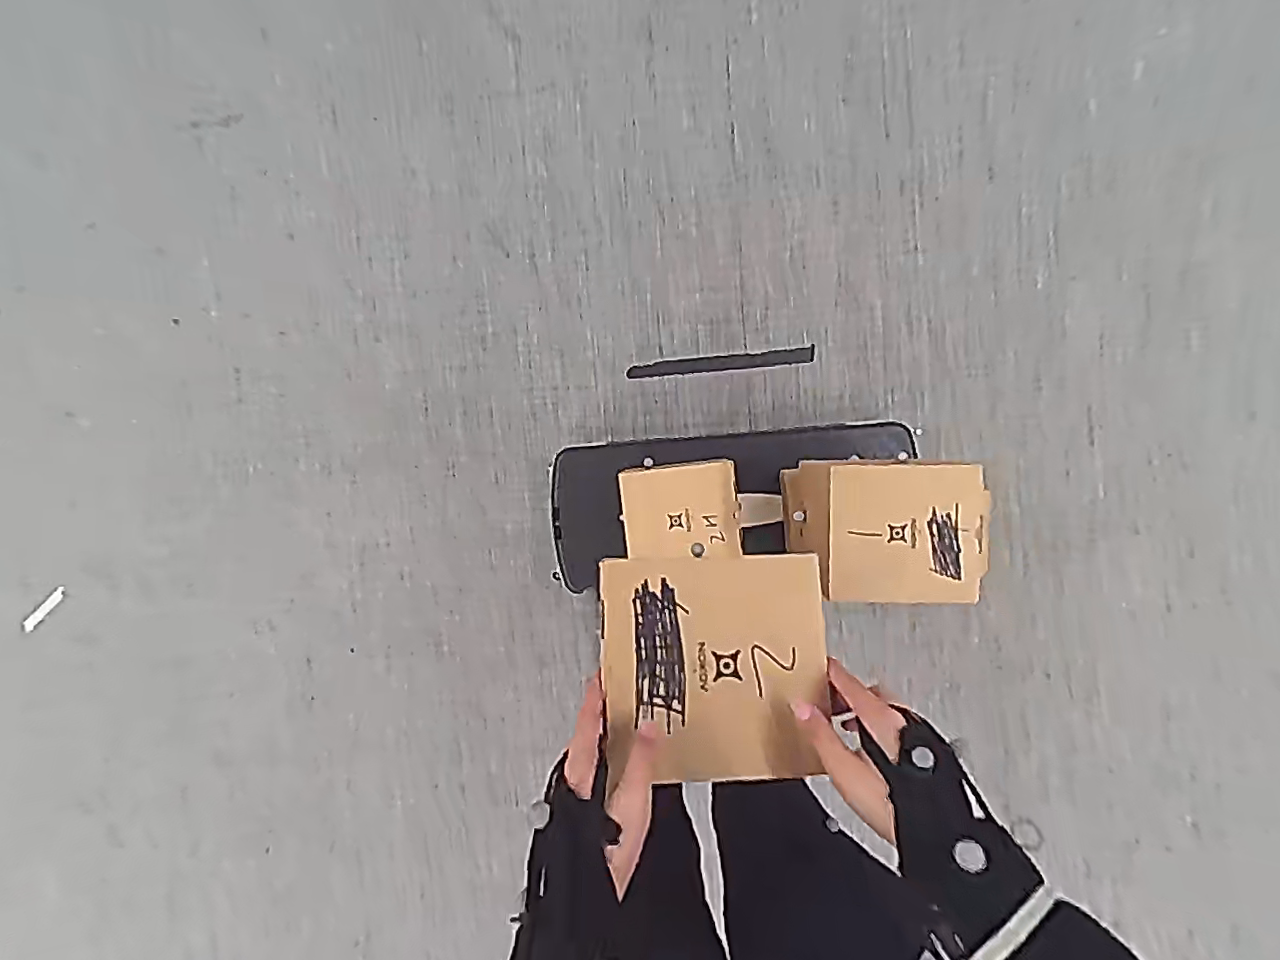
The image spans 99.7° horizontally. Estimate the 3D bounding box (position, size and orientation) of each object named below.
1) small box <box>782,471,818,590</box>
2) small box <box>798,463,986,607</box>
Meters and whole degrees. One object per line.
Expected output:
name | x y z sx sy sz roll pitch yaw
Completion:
small box | 0.334 0.069 0.878 0.168 0.176 0.179 -6 93 4
small box | 0.318 0.063 0.714 0.179 0.176 0.168 0 93 4
